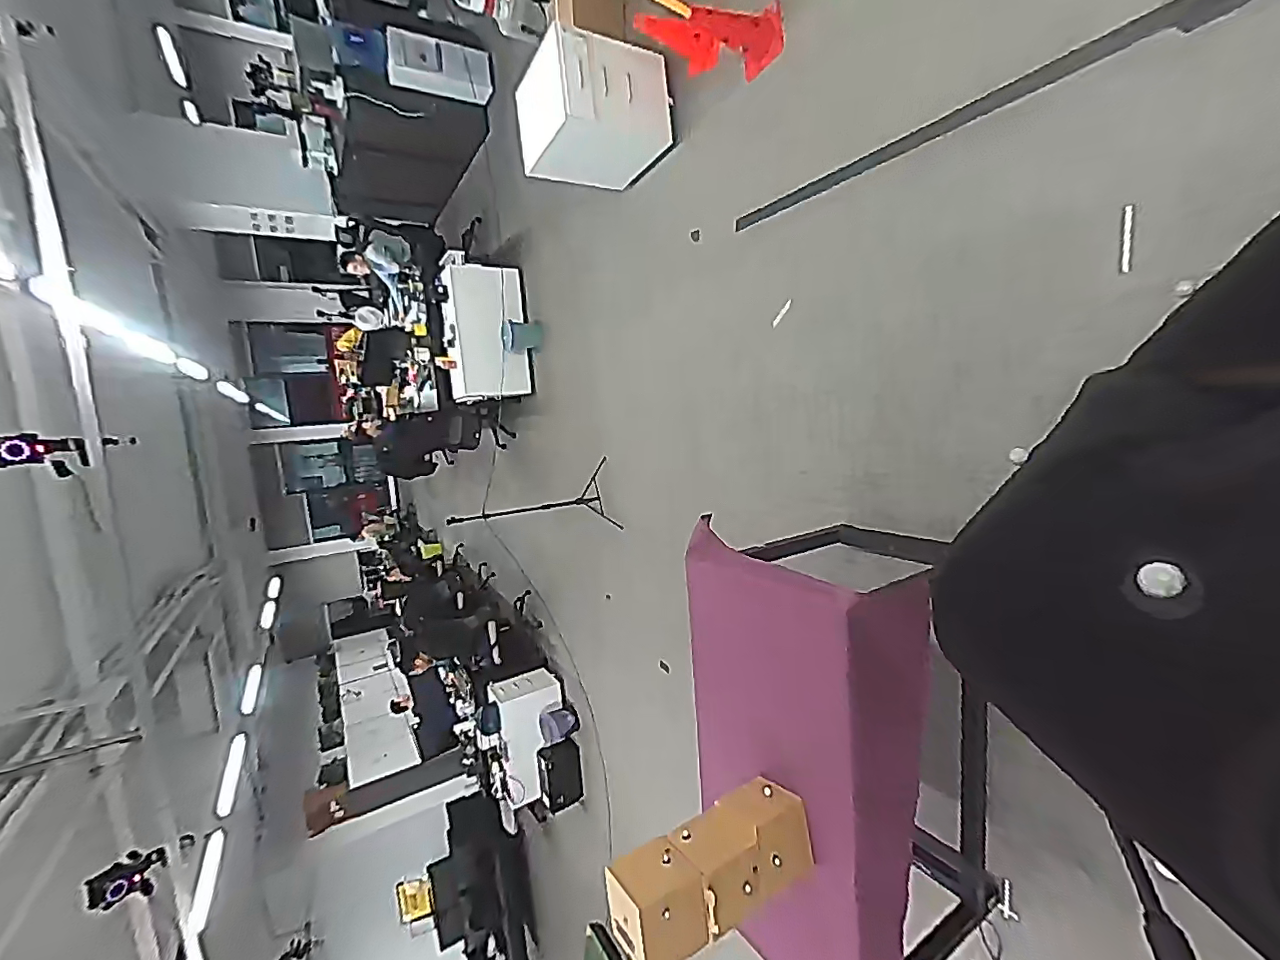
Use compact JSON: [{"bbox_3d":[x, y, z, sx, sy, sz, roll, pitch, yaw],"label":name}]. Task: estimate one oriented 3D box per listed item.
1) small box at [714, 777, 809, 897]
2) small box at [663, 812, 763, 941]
[{"bbox_3d":[0.321,0.922,1.415,0.168,0.176,0.179,-12,87,59],"label":"small box"},{"bbox_3d":[0.179,0.965,1.340,0.179,0.176,0.168,-1,97,59],"label":"small box"}]
